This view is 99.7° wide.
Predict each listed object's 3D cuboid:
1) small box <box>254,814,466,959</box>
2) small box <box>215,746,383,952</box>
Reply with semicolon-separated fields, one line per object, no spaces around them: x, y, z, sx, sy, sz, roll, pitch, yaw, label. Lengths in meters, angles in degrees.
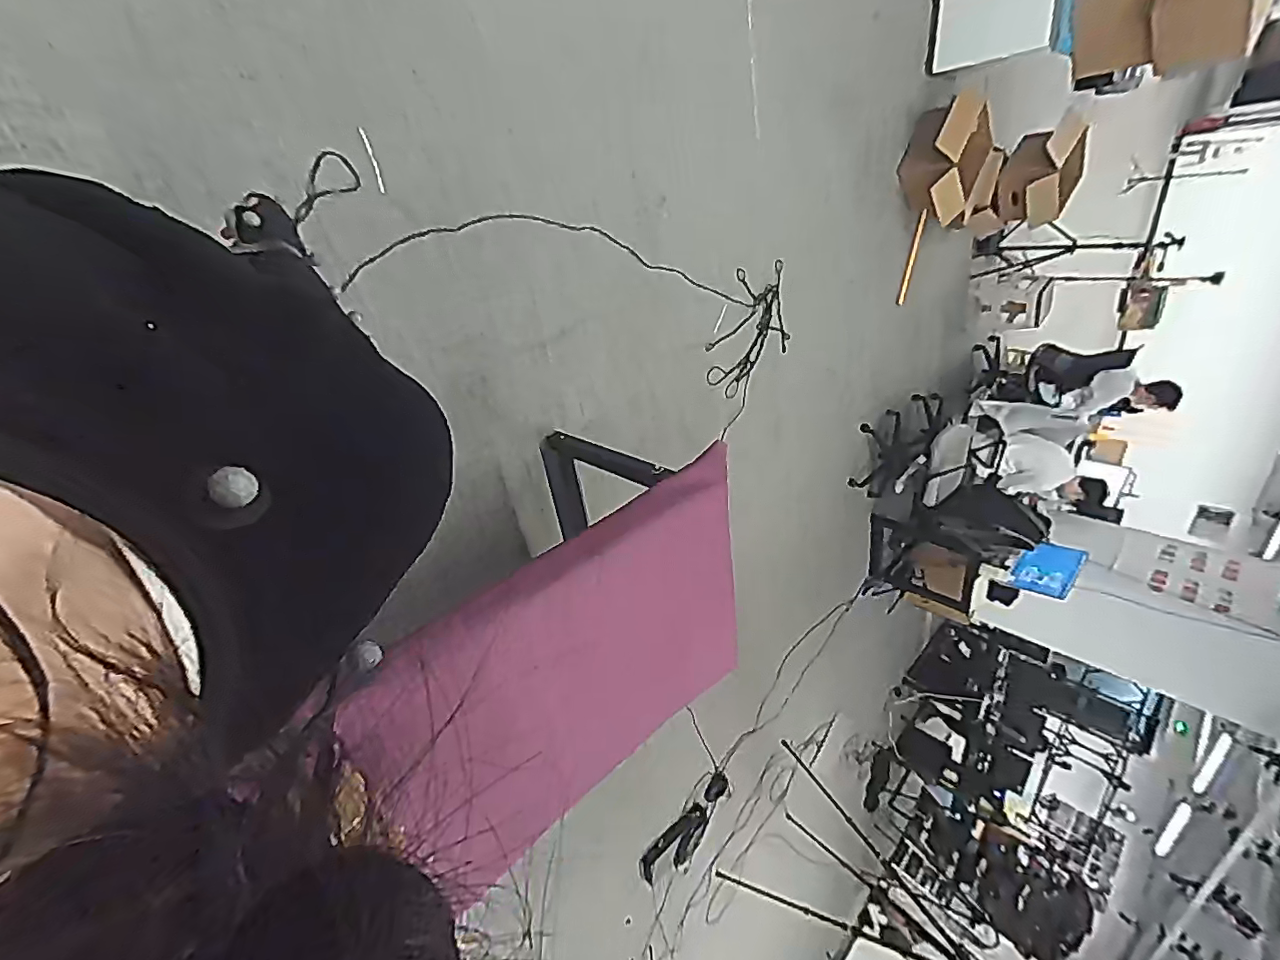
-0.348;0.577;0.674;0.179;0.176;0.168;-29;124;-36;small box
-0.470;0.532;0.775;0.179;0.176;0.168;-34;127;-32;small box
